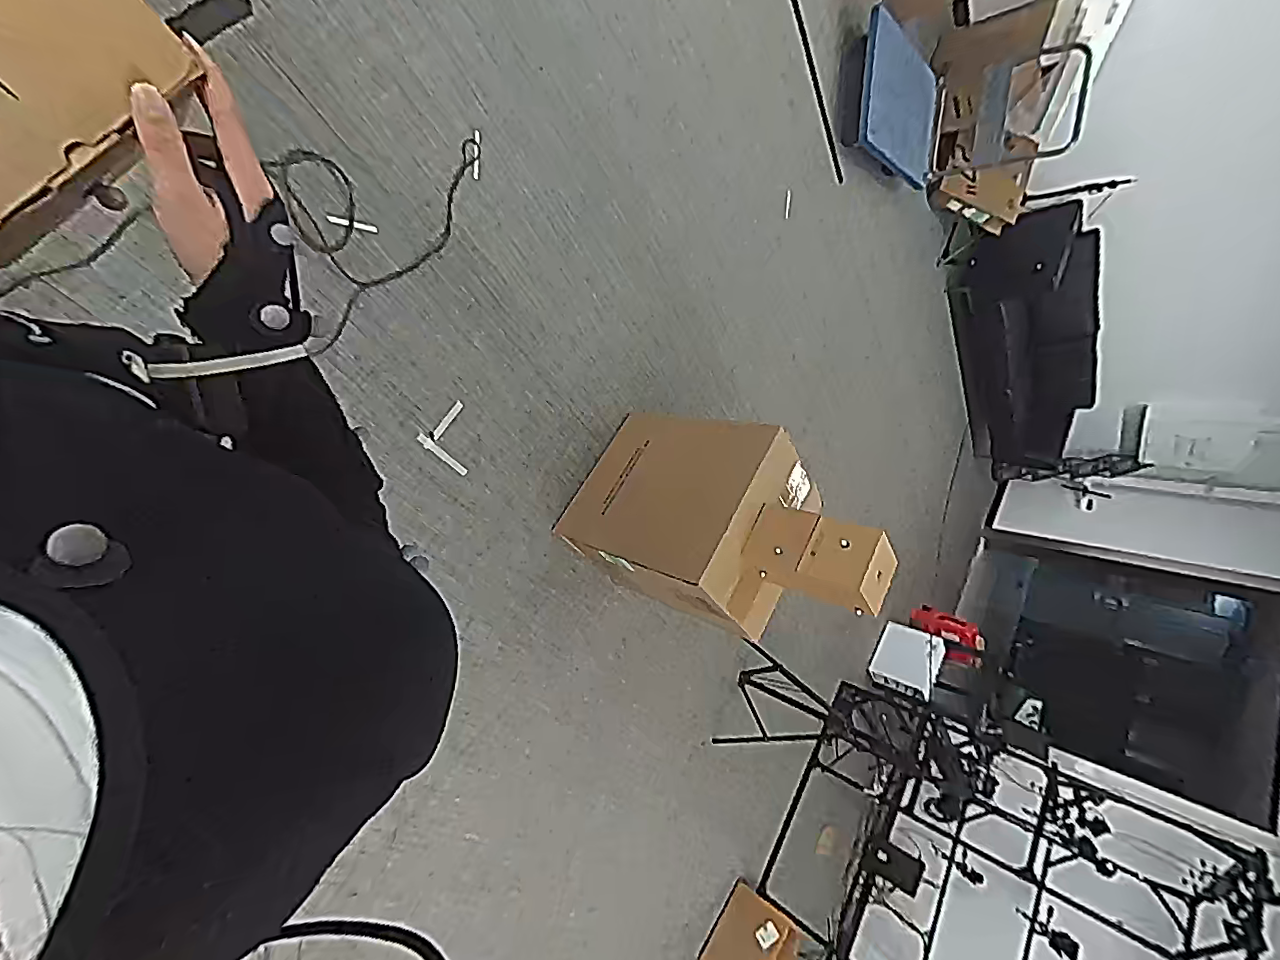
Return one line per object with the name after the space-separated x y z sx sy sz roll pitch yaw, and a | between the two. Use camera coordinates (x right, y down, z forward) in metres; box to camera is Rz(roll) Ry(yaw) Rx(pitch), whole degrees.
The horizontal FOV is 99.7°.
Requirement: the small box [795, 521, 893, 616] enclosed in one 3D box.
0.518 0.219 1.378 0.179 0.176 0.168 47 65 -42 | small box

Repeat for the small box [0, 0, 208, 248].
-0.377 -0.239 0.276 0.168 0.176 0.179 -52 134 -14 | small box
